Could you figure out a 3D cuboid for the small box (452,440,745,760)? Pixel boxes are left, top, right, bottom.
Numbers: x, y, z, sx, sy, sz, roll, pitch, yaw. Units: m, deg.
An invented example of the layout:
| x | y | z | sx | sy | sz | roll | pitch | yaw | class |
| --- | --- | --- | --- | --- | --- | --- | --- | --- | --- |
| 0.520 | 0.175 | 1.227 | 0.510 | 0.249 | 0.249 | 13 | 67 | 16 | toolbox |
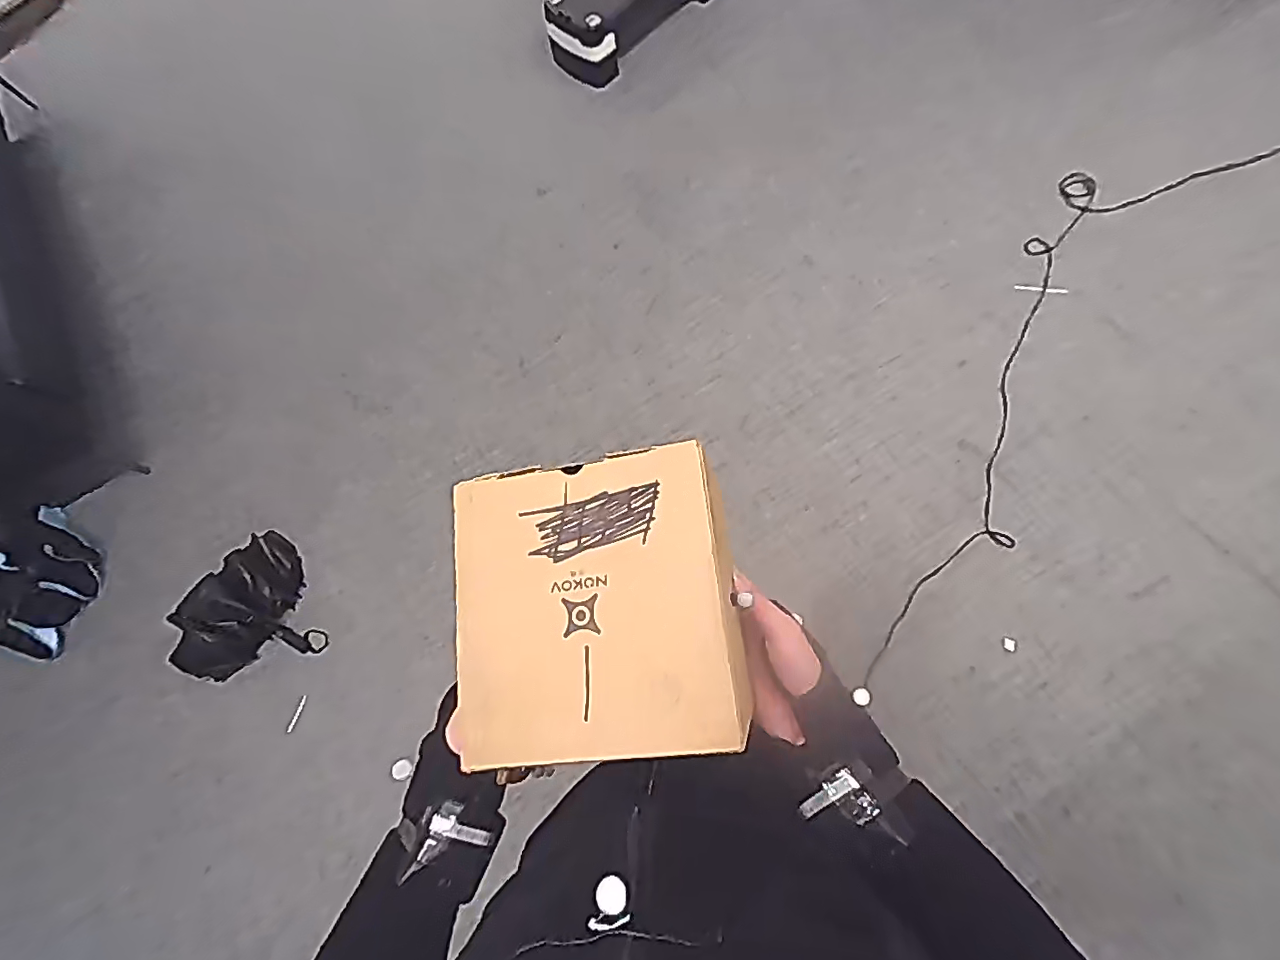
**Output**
| x | y | z | sx | sy | sz | roll | pitch | yaw | class |
| --- | --- | --- | --- | --- | --- | --- | --- | --- | --- |
| -0.018 | 0.088 | 0.397 | 0.168 | 0.176 | 0.179 | -9 | 75 | 12 | small box |
